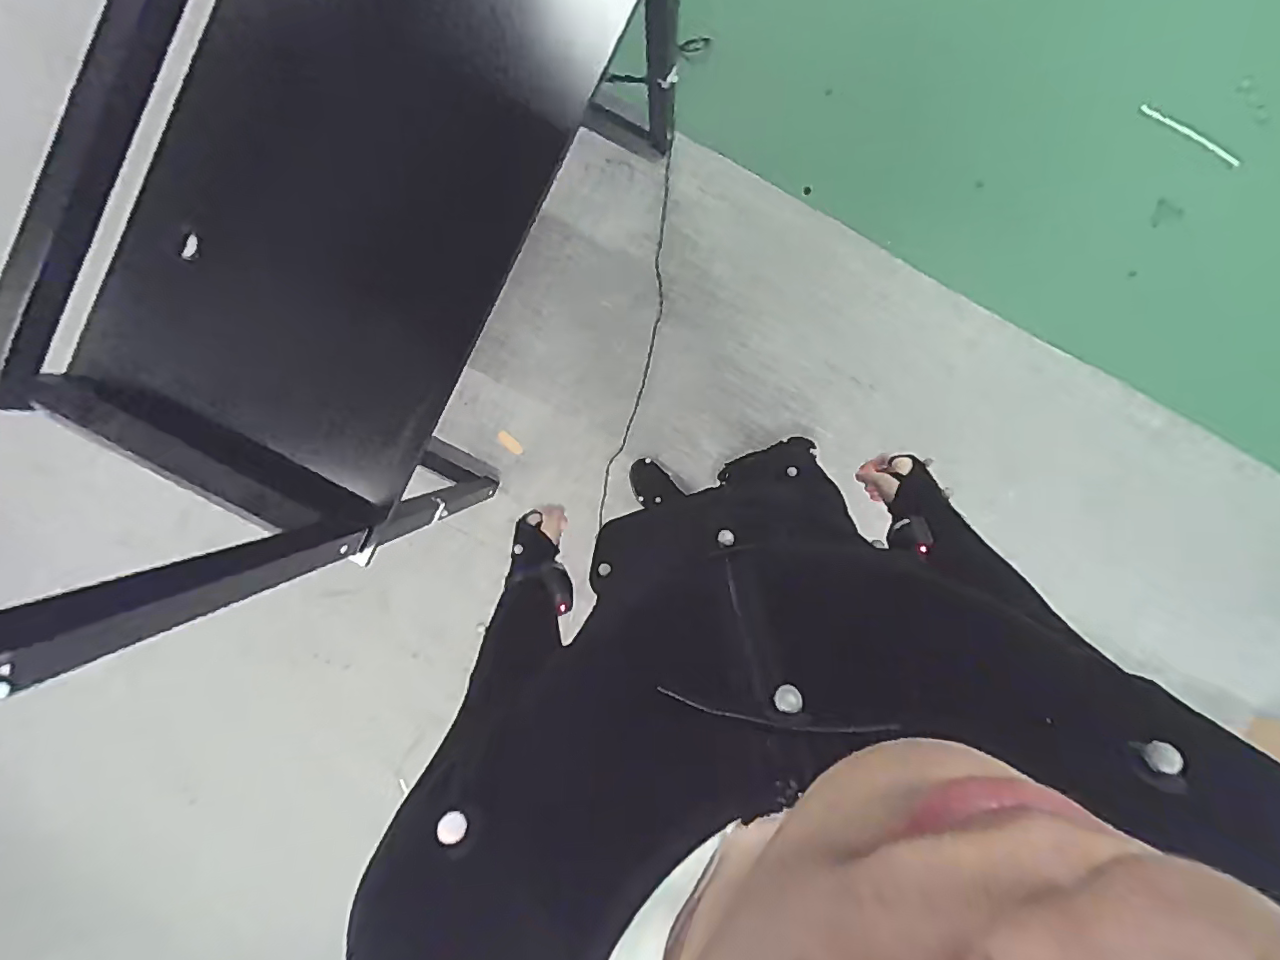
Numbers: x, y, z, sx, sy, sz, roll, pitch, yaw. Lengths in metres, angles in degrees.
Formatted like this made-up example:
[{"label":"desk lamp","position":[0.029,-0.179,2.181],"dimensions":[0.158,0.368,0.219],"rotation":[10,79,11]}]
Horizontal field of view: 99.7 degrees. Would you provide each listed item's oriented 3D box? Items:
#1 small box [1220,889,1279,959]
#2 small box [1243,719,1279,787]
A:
[{"label":"small box","position":[1.707,1.235,1.416],"dimensions":[0.168,0.176,0.179],"rotation":[30,96,0]},{"label":"small box","position":[1.910,0.822,1.540],"dimensions":[0.168,0.176,0.179],"rotation":[28,96,0]}]
